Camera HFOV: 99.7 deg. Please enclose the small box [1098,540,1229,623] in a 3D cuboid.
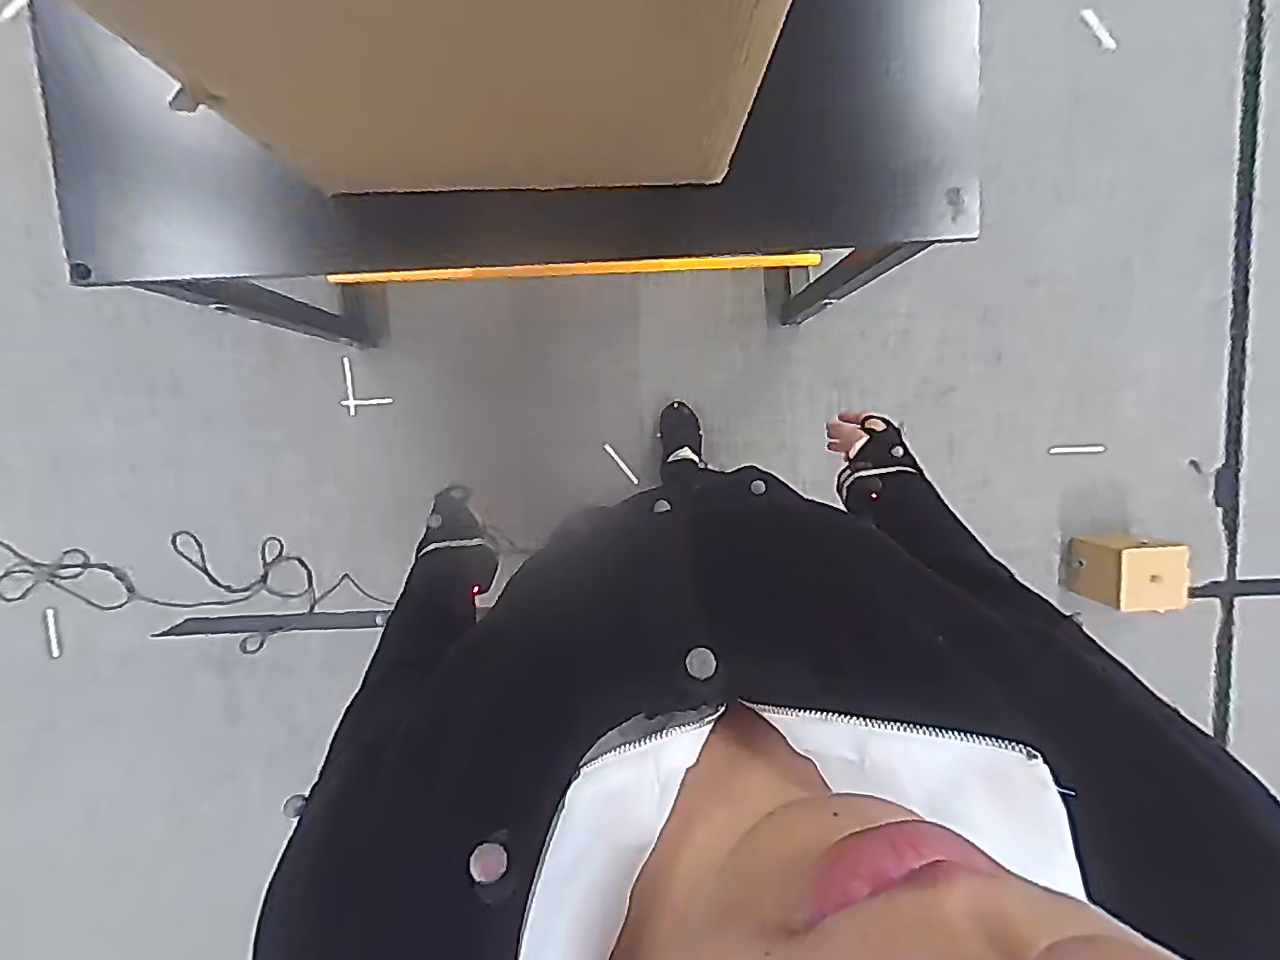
[{"bbox_3d":[1.335,0.254,1.388,0.179,0.176,0.168,-4,96,0],"label":"small box"}]
